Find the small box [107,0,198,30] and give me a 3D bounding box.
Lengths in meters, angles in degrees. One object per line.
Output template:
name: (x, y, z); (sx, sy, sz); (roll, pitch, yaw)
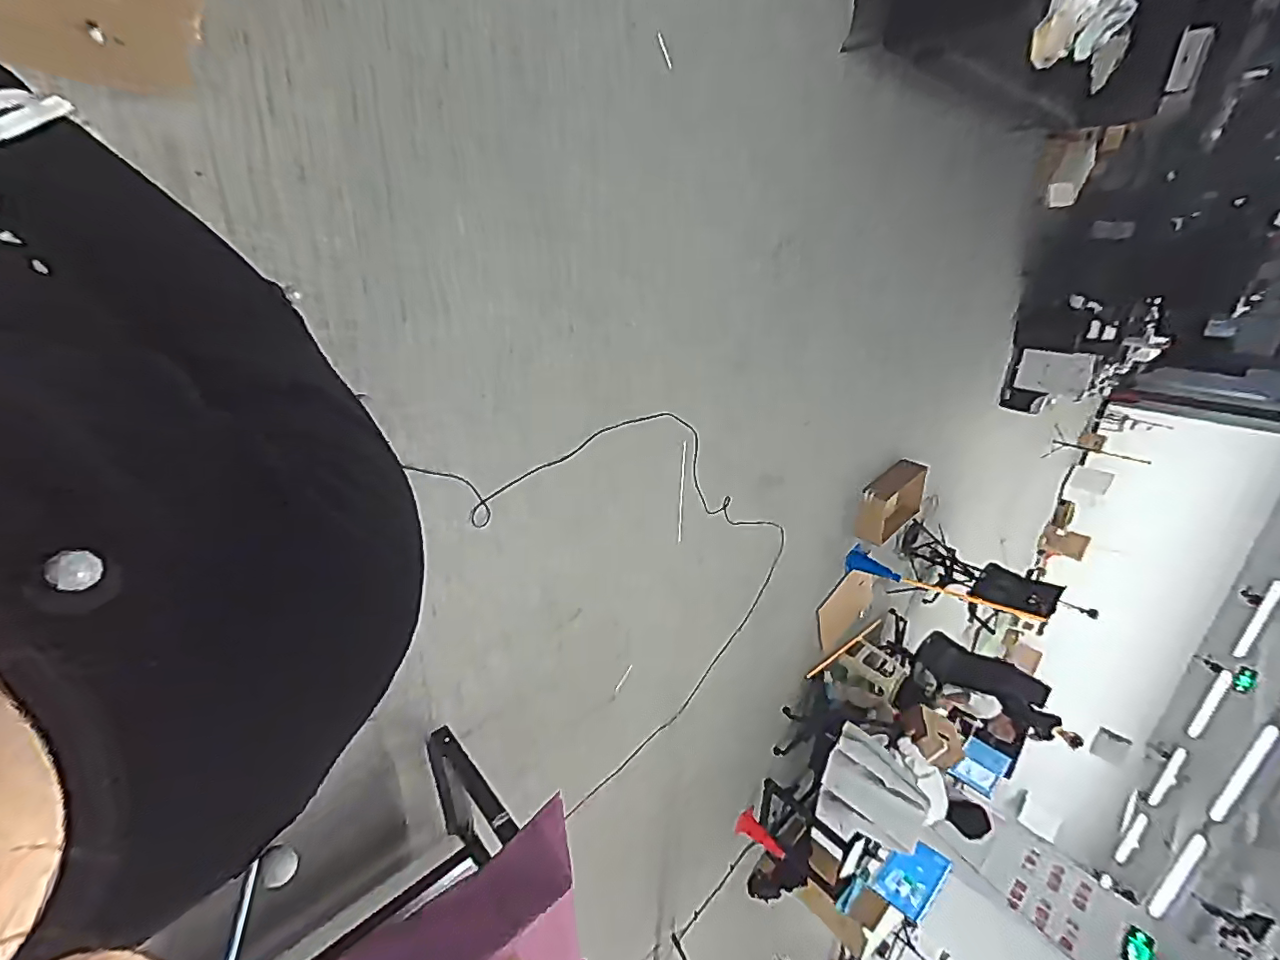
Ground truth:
small box: (-0.470, -0.525, 0.445); (0.168, 0.176, 0.179); (-5, 108, -43)
